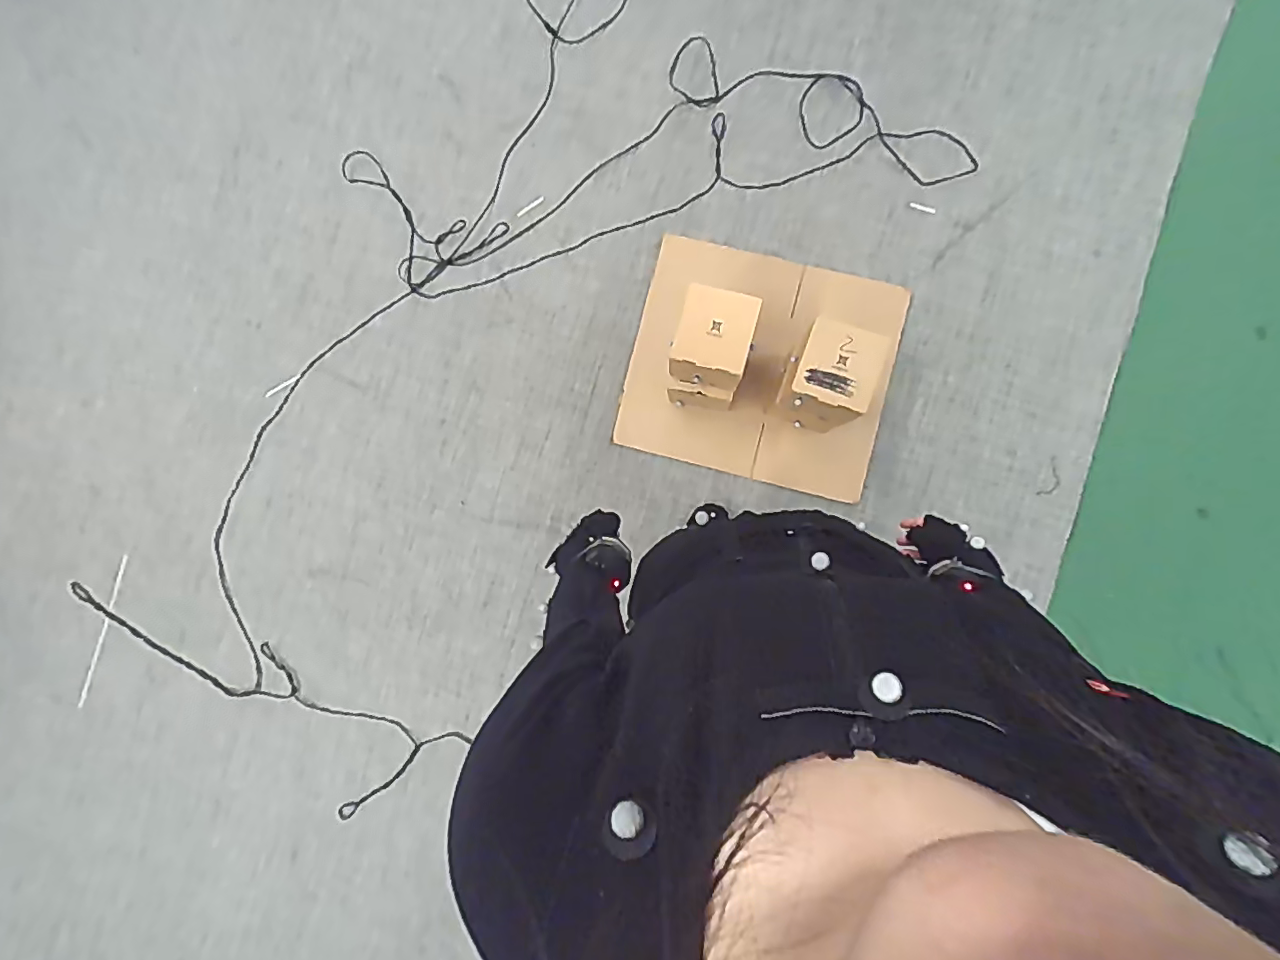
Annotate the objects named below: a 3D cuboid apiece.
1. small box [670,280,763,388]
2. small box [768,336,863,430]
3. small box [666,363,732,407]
[{"bbox_3d":[0.168,-0.329,1.245,0.168,0.176,0.179,15,89,4],"label":"small box"},{"bbox_3d":[0.440,-0.242,1.390,0.168,0.176,0.179,19,90,5],"label":"small box"},{"bbox_3d":[0.168,-0.298,1.408,0.168,0.176,0.179,12,89,4],"label":"small box"}]
